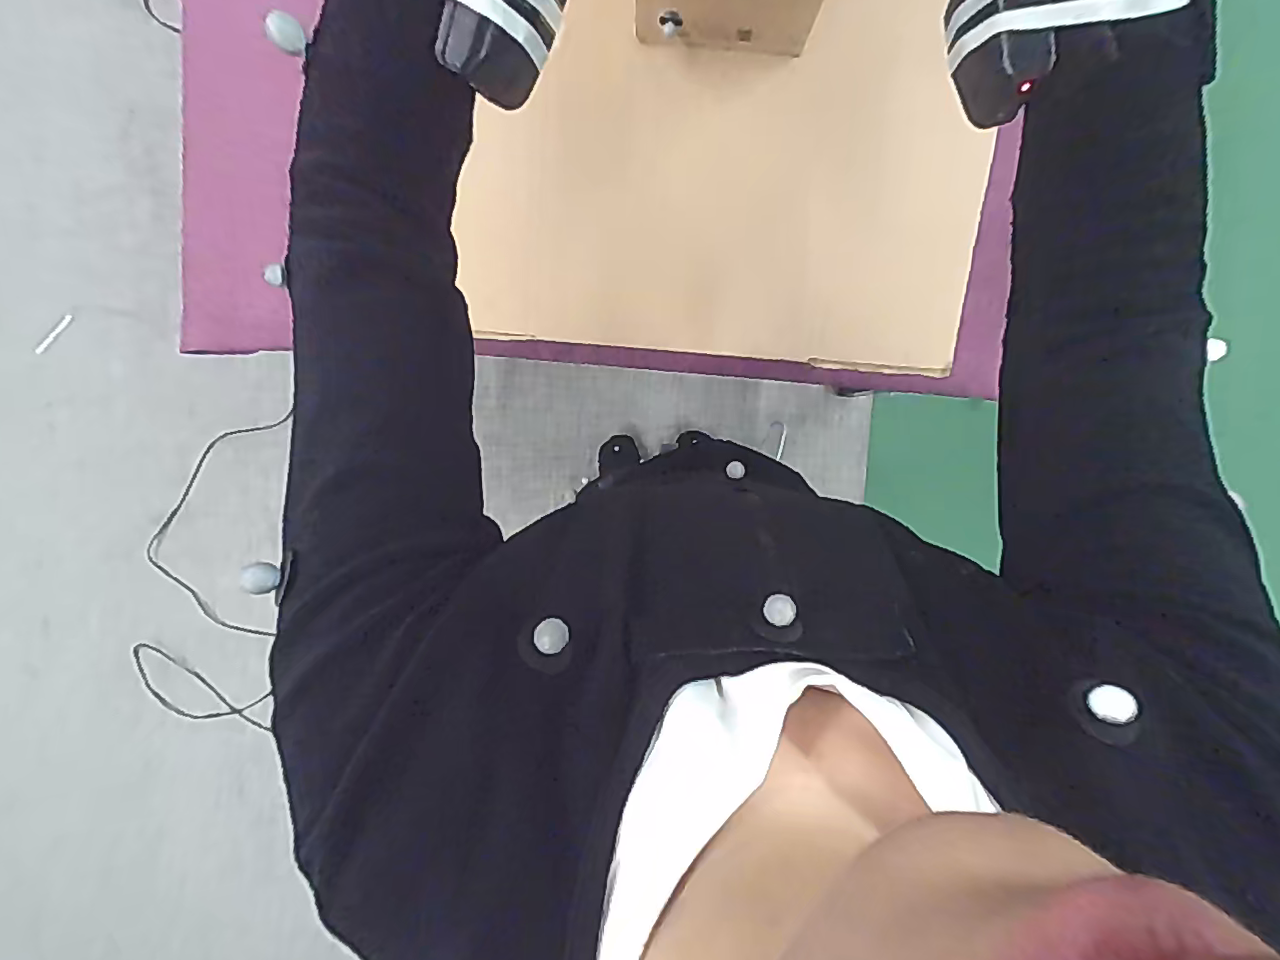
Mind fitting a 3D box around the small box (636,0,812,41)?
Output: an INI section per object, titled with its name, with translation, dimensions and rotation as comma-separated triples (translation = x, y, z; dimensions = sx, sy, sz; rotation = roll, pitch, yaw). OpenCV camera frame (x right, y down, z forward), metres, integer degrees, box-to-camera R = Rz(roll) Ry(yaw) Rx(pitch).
[small box]
translation = 0.081, -0.511, 0.444
dimensions = 0.168, 0.176, 0.179
rotation = 5, 93, -1
